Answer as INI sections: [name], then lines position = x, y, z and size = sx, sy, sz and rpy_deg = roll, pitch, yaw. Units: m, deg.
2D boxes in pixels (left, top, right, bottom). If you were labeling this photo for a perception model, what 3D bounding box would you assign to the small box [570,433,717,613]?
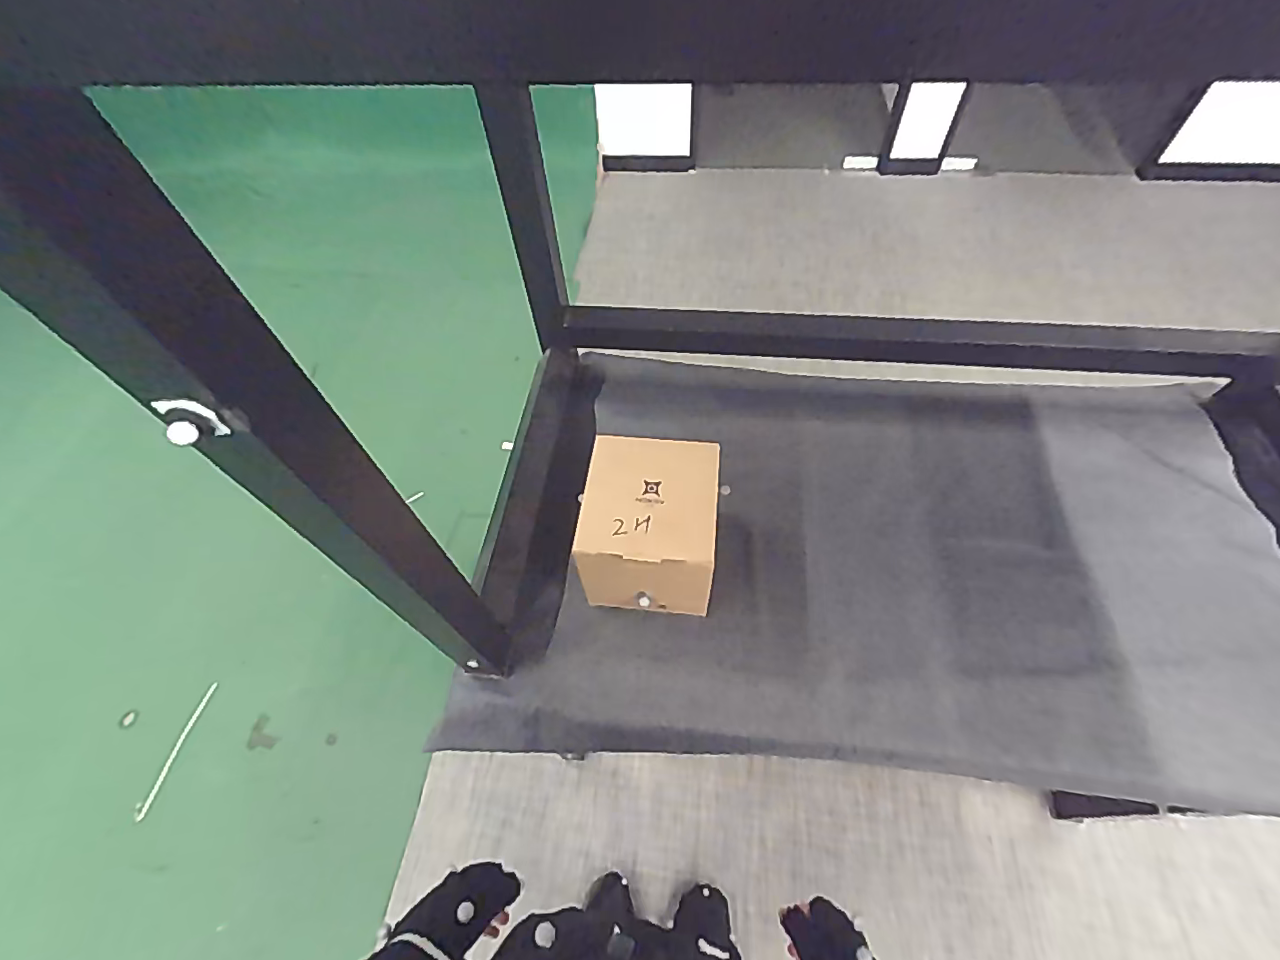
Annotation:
[small box]
position = 0.012, 0.060, 0.729
size = 0.168, 0.176, 0.179
rpy_deg = 4, 56, 6
